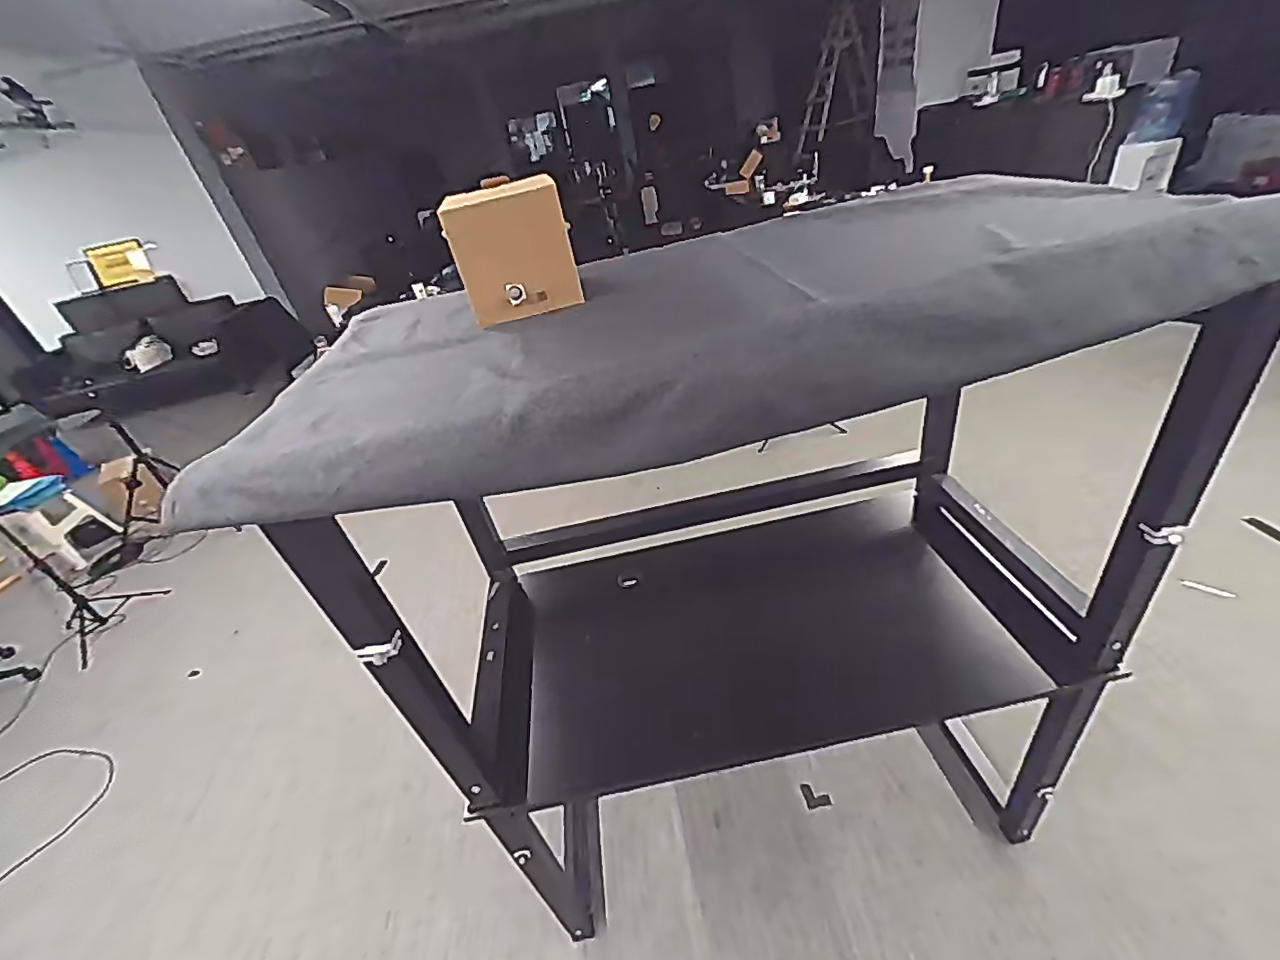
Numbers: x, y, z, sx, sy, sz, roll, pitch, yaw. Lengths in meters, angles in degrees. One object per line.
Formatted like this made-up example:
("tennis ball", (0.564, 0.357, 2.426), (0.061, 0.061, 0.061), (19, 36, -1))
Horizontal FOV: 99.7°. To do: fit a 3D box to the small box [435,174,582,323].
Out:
("small box", (-0.196, -0.358, 0.835), (0.168, 0.176, 0.179), (-16, 34, -4))
